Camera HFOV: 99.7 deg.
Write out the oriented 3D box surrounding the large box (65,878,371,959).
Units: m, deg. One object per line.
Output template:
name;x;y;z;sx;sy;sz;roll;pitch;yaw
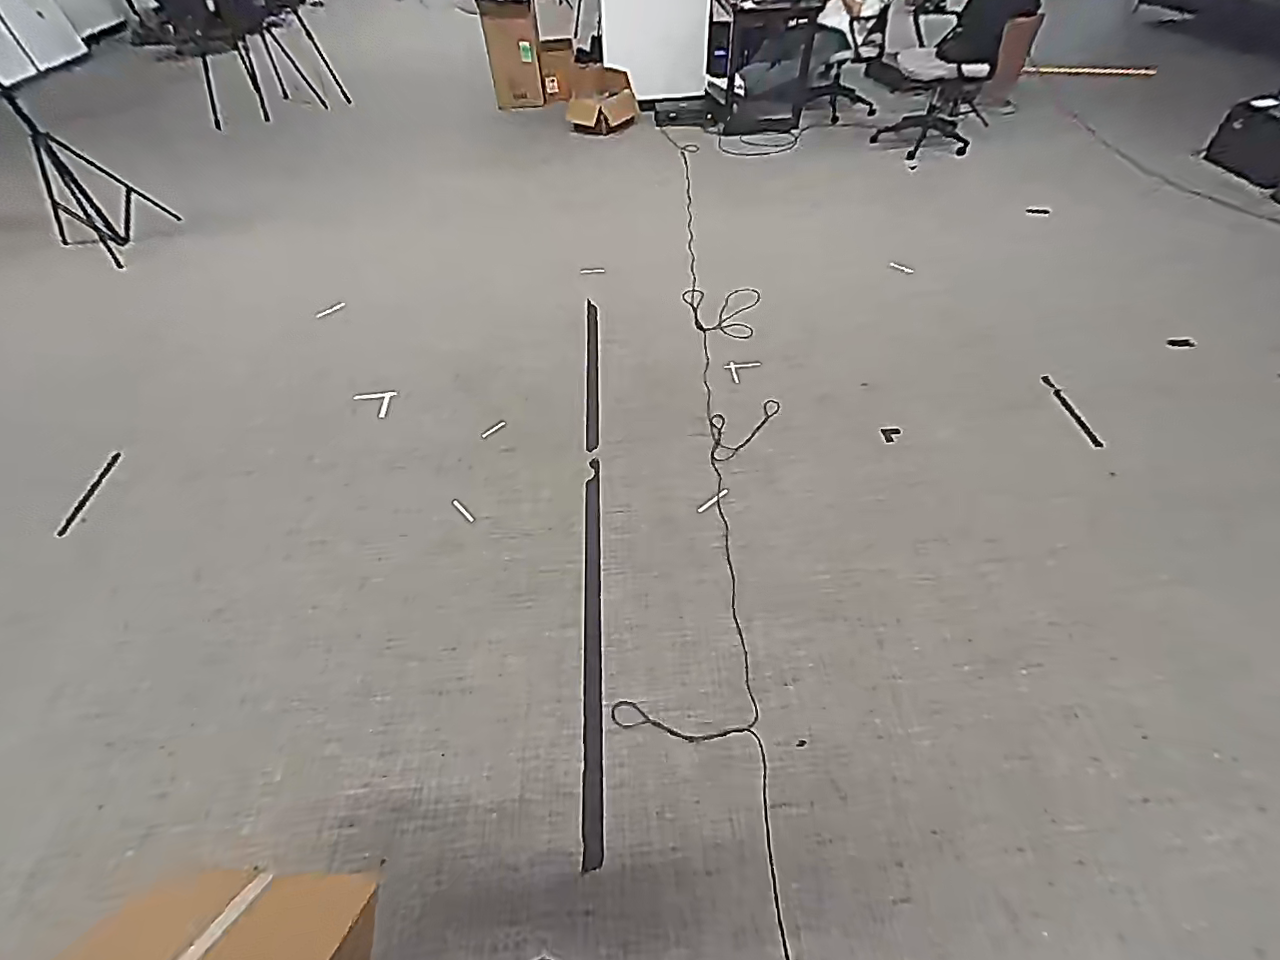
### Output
large box;-0.547;0.733;0.595;0.320;0.408;0.320;4;86;-4
